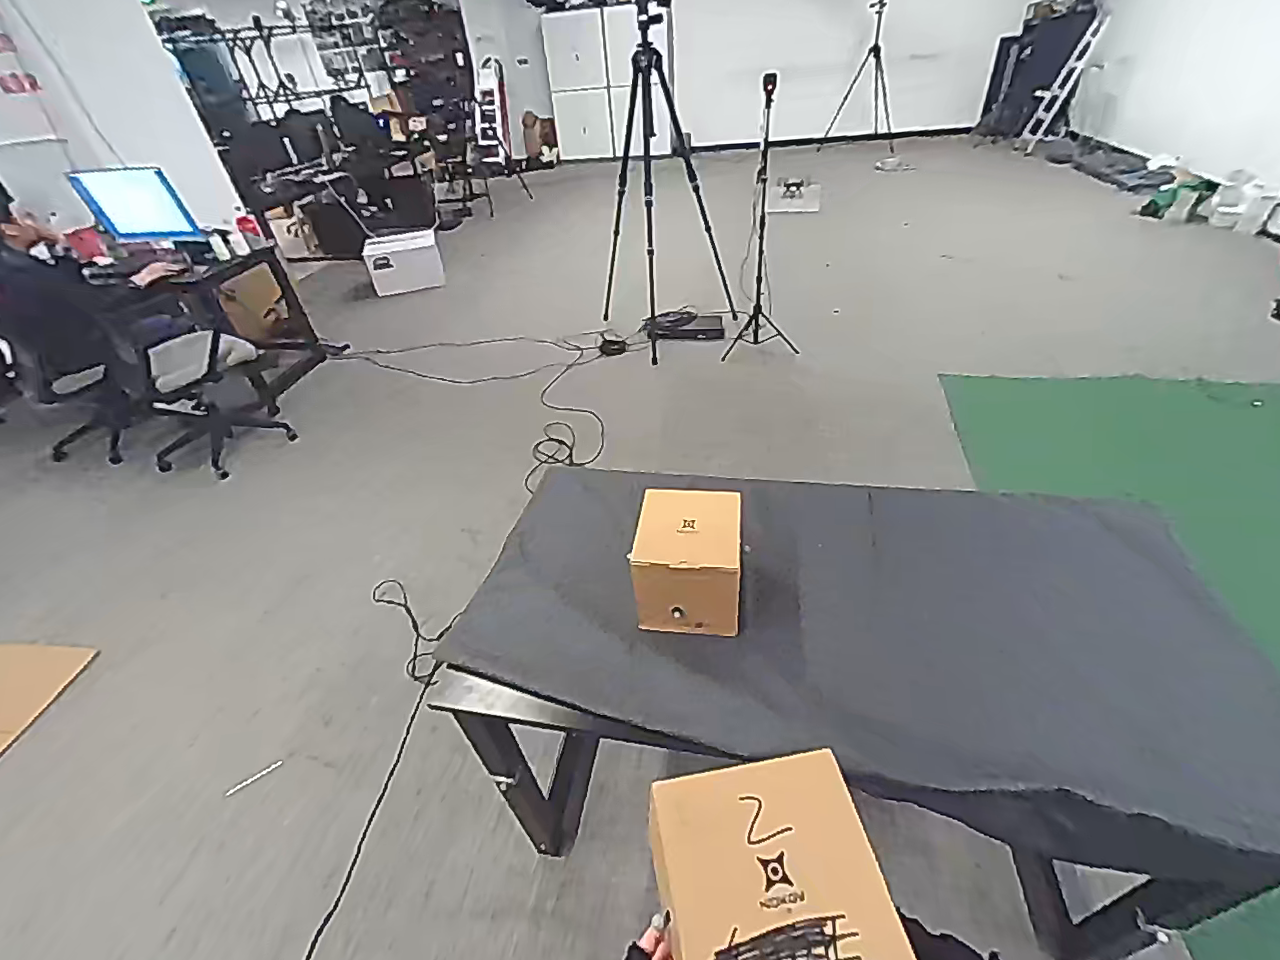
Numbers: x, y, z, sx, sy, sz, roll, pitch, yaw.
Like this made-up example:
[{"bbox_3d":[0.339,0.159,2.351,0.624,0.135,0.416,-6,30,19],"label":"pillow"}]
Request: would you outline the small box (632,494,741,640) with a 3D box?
[{"bbox_3d":[0.084,0.146,0.928,0.168,0.176,0.179,2,40,9],"label":"small box"}]
